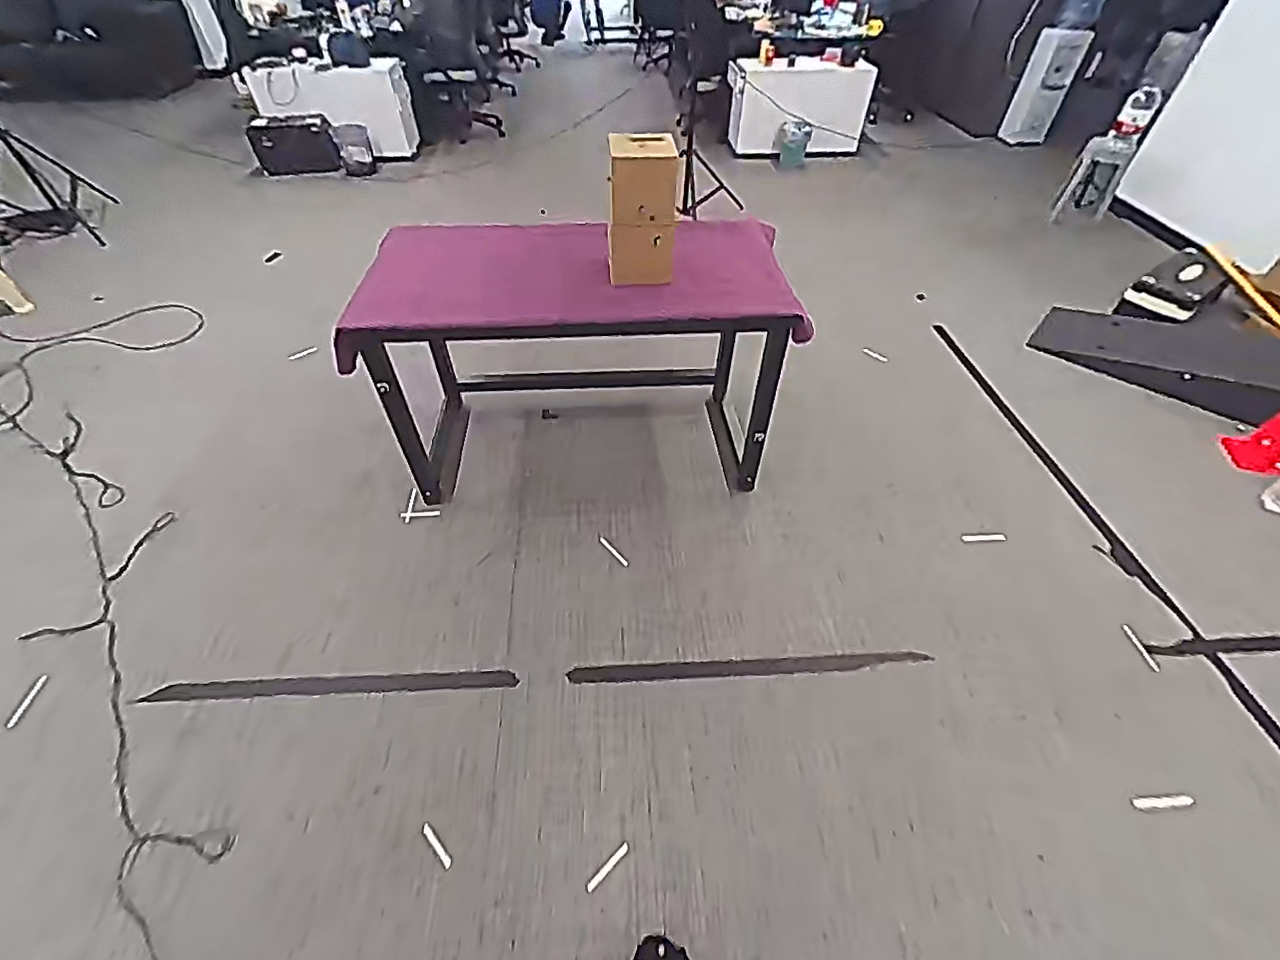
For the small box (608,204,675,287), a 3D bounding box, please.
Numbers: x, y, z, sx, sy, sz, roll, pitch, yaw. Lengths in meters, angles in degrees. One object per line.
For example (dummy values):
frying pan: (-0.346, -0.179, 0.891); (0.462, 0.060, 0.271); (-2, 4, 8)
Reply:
small box: (0.000, -0.663, 1.535); (0.179, 0.176, 0.168); (-4, 47, -3)
